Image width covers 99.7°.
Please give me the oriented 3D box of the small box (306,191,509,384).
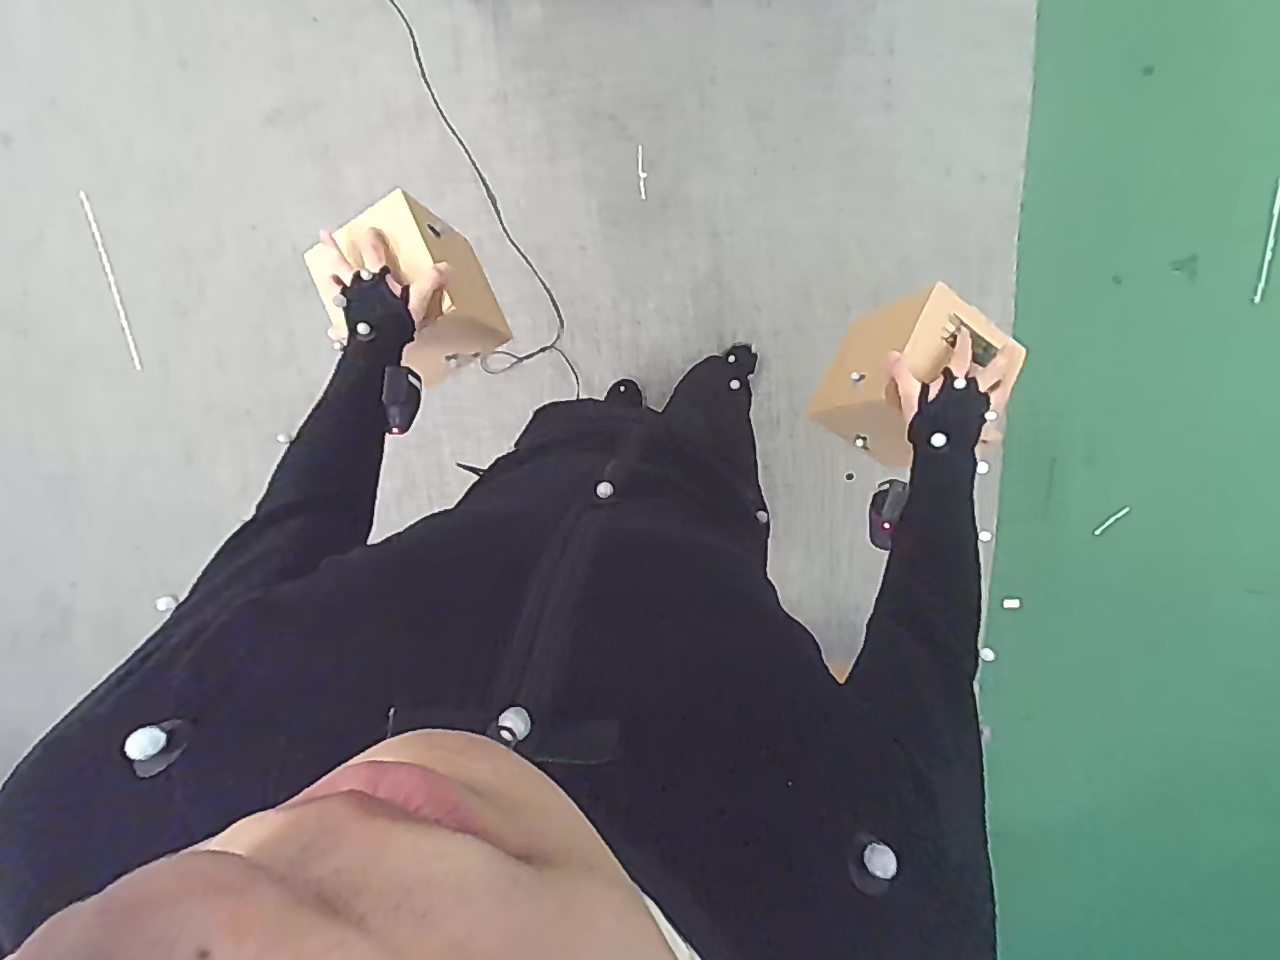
[{"bbox_3d":[-0.319,-0.257,0.770,0.168,0.176,0.179,-27,85,12],"label":"small box"}]
